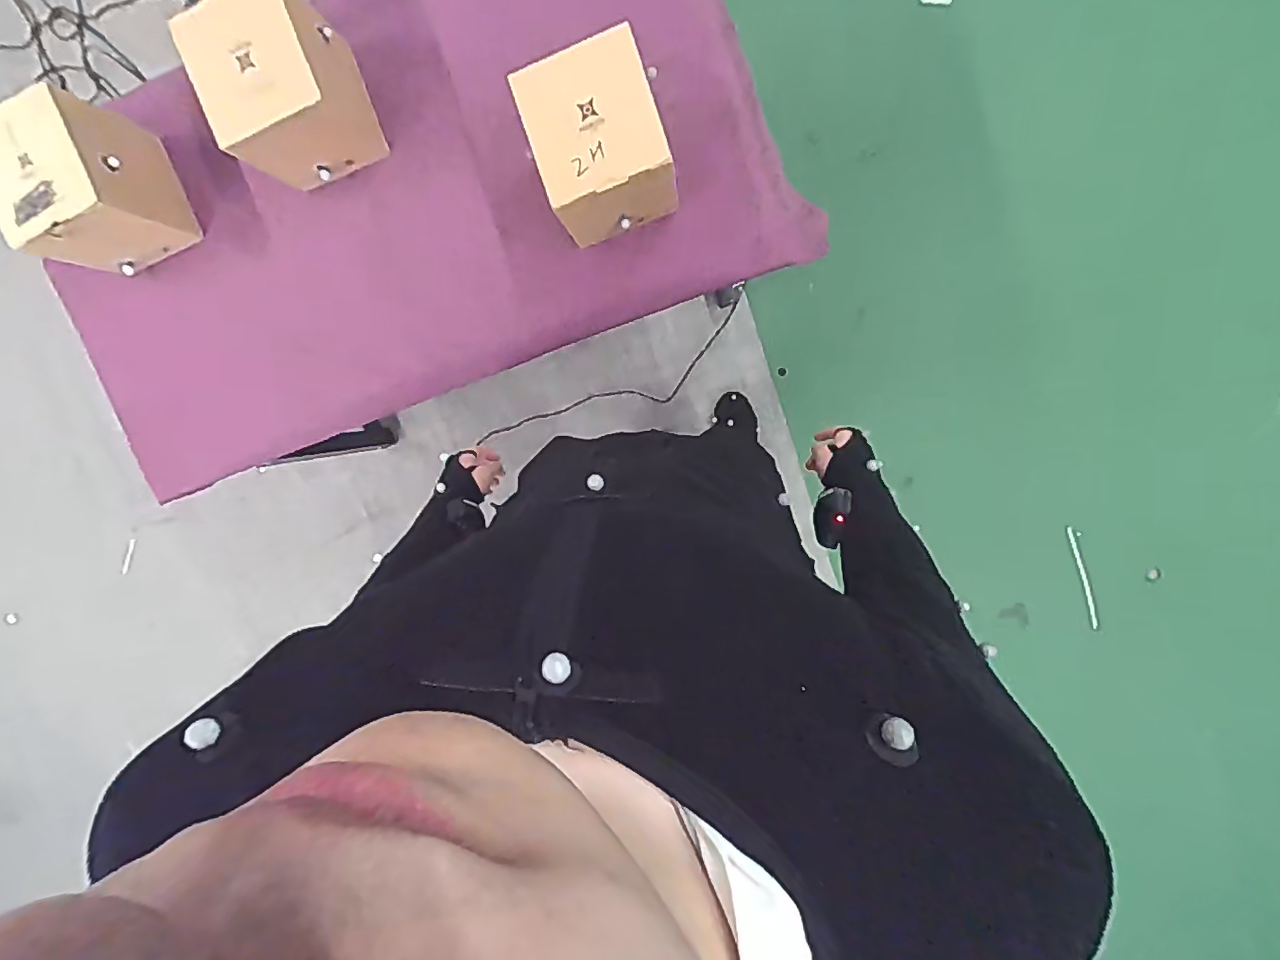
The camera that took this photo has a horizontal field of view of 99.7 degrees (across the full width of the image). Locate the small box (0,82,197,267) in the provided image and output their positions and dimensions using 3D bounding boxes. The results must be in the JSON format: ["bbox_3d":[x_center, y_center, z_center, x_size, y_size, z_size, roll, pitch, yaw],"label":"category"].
[{"bbox_3d":[-0.848,-0.449,0.836,0.168,0.176,0.179,-20,95,7],"label":"small box"}]

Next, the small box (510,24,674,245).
[{"bbox_3d":[-0.056,-0.463,0.756,0.168,0.176,0.179,-18,94,9],"label":"small box"}]

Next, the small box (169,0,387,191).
[{"bbox_3d":[-0.512,-0.565,0.790,0.168,0.176,0.179,-19,96,8],"label":"small box"}]
